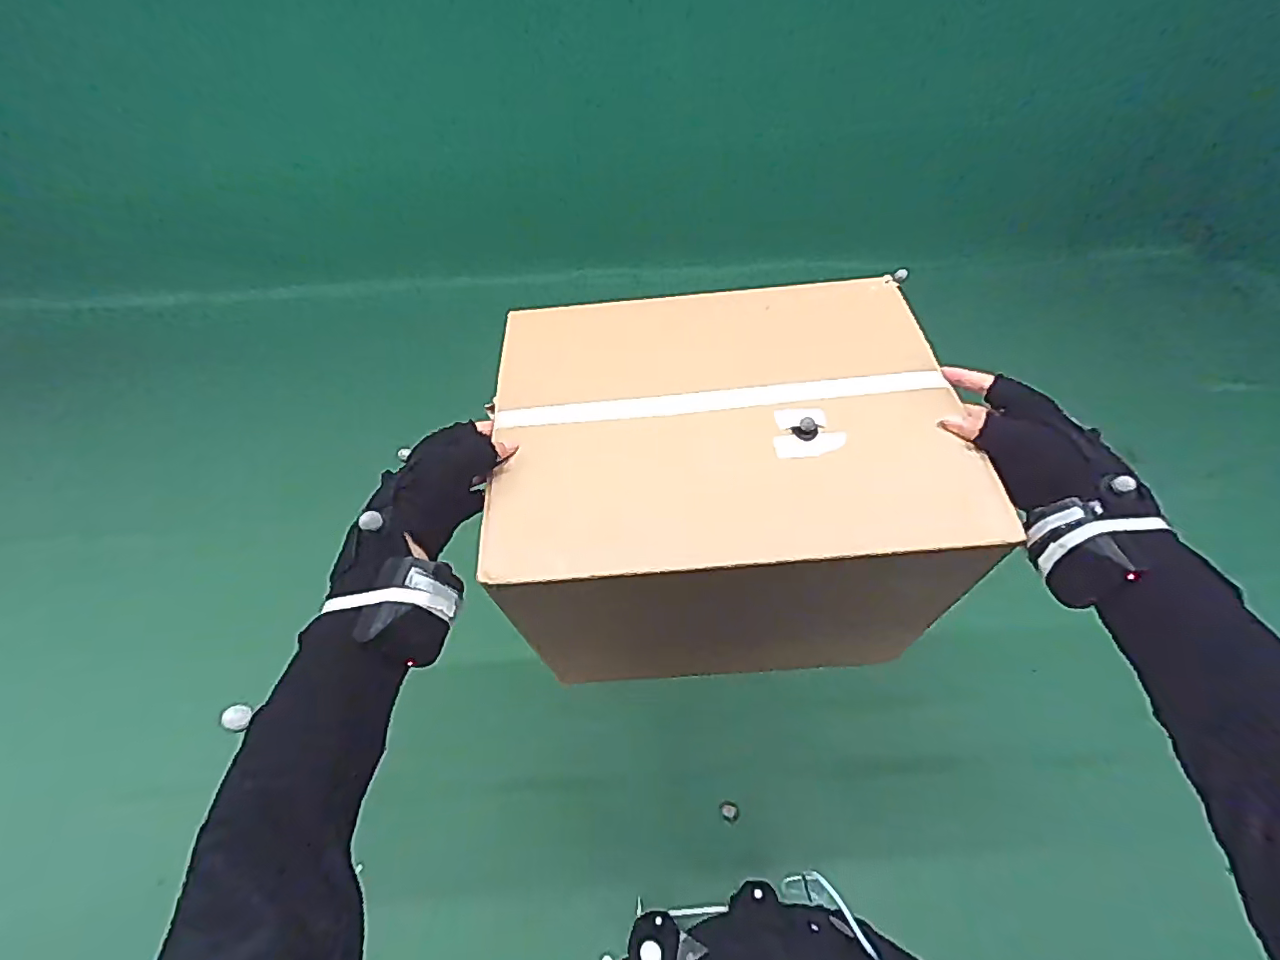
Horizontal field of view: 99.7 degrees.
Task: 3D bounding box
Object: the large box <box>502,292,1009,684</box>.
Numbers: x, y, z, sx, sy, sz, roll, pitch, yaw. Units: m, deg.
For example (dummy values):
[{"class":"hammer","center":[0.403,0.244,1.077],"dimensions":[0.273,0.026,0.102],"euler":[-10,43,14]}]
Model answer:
[{"class":"large box","center":[0.085,0.024,0.621],"dimensions":[0.408,0.320,0.320],"euler":[-5,56,1]}]
